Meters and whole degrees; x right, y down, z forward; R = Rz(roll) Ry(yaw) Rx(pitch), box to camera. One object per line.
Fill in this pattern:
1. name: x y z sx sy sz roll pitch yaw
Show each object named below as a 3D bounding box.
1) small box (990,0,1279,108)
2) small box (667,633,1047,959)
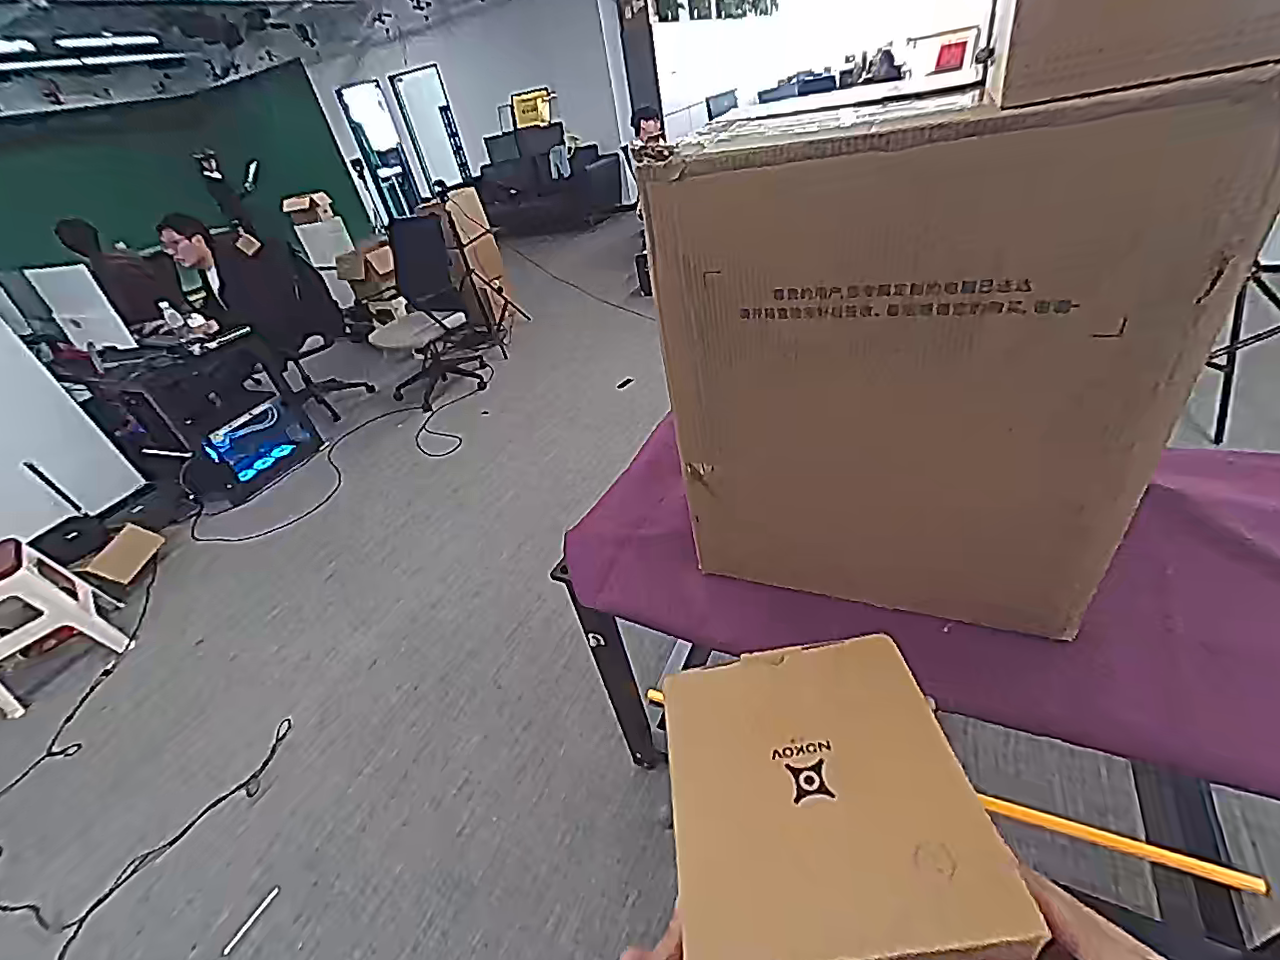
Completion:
1. small box: 0.378 -0.400 0.405 0.179 0.176 0.168 5 40 24
2. small box: 0.121 0.237 0.357 0.168 0.176 0.179 -13 31 6
